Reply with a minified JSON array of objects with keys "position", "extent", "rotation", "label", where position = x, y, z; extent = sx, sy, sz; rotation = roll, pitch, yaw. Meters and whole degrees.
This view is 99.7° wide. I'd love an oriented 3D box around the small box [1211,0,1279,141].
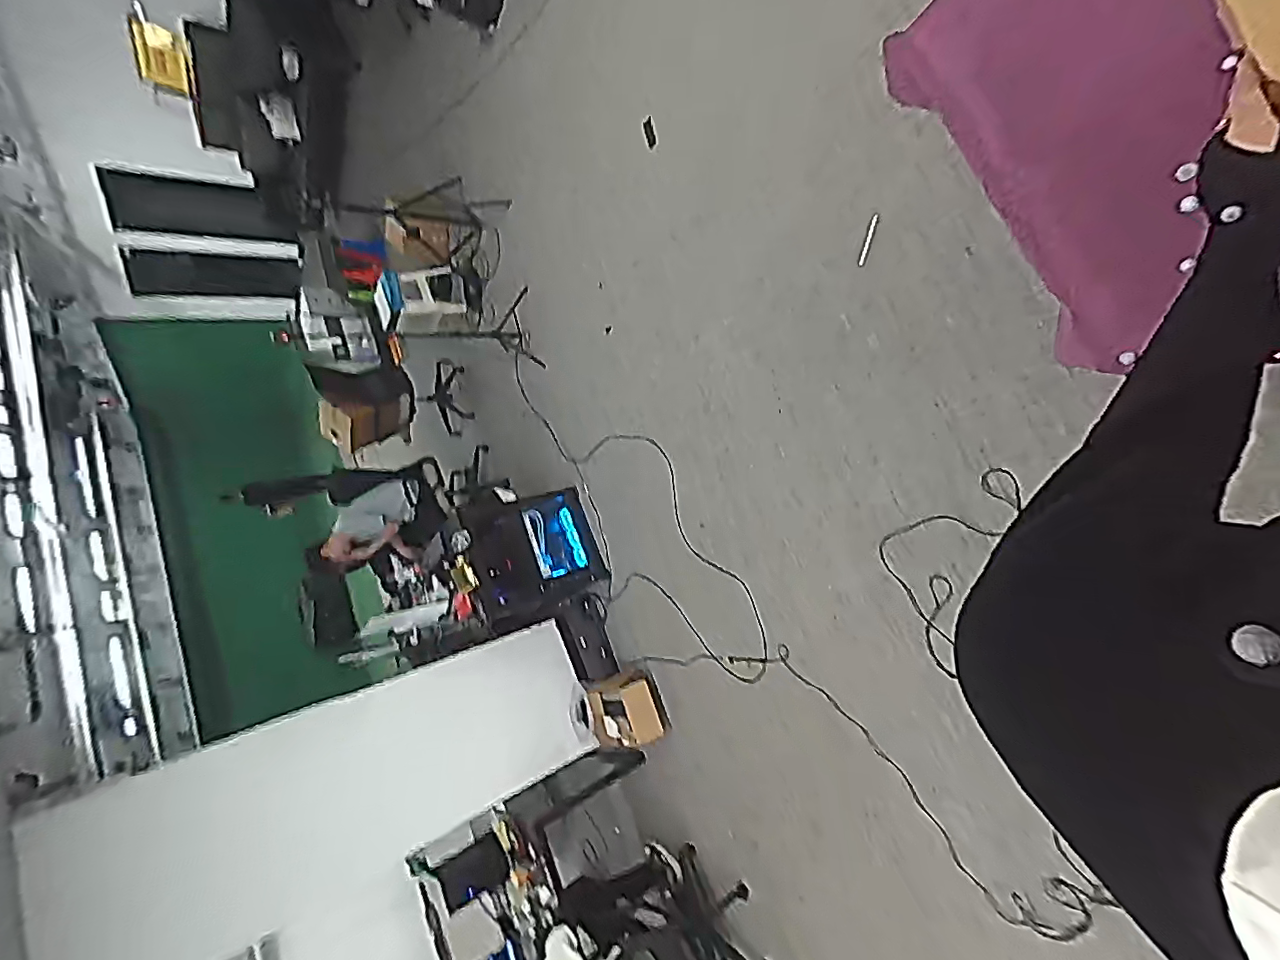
[{"position":[0.633,-0.425,0.462],"extent":[0.168,0.176,0.179],"rotation":[-25,79,51],"label":"small box"}]
